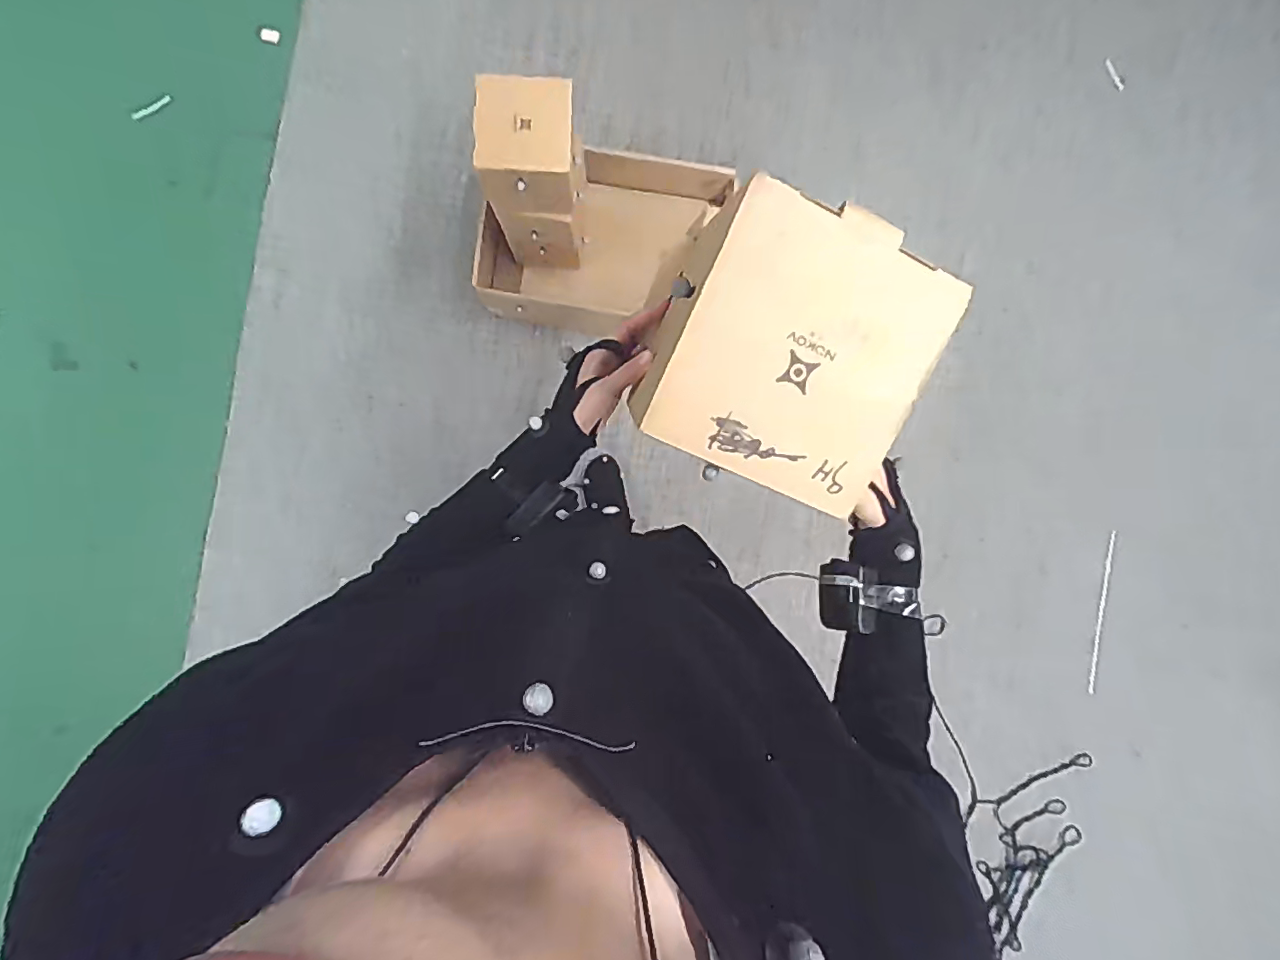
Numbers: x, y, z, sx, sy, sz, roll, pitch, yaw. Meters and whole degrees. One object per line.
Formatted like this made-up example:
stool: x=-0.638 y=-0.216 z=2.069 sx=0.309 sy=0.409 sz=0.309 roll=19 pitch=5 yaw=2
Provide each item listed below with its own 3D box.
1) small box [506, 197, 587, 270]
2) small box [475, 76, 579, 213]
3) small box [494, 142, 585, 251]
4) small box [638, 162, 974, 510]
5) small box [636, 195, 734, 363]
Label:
small box: x=-0.232 y=-0.651 z=1.375 sx=0.179 sy=0.176 sz=0.168 roll=5 pitch=91 yaw=-4
small box: x=-0.211 y=-0.639 z=1.050 sx=0.179 sy=0.176 sz=0.168 roll=2 pitch=92 yaw=-2
small box: x=-0.217 y=-0.639 z=1.212 sx=0.168 sy=0.176 sz=0.179 roll=9 pitch=91 yaw=-4
small box: x=0.105 y=-0.106 z=0.432 sx=0.168 sy=0.176 sz=0.179 roll=23 pitch=102 yaw=-9
small box: x=0.105 y=-0.171 z=0.585 sx=0.179 sy=0.176 sz=0.168 roll=21 pitch=103 yaw=-11
